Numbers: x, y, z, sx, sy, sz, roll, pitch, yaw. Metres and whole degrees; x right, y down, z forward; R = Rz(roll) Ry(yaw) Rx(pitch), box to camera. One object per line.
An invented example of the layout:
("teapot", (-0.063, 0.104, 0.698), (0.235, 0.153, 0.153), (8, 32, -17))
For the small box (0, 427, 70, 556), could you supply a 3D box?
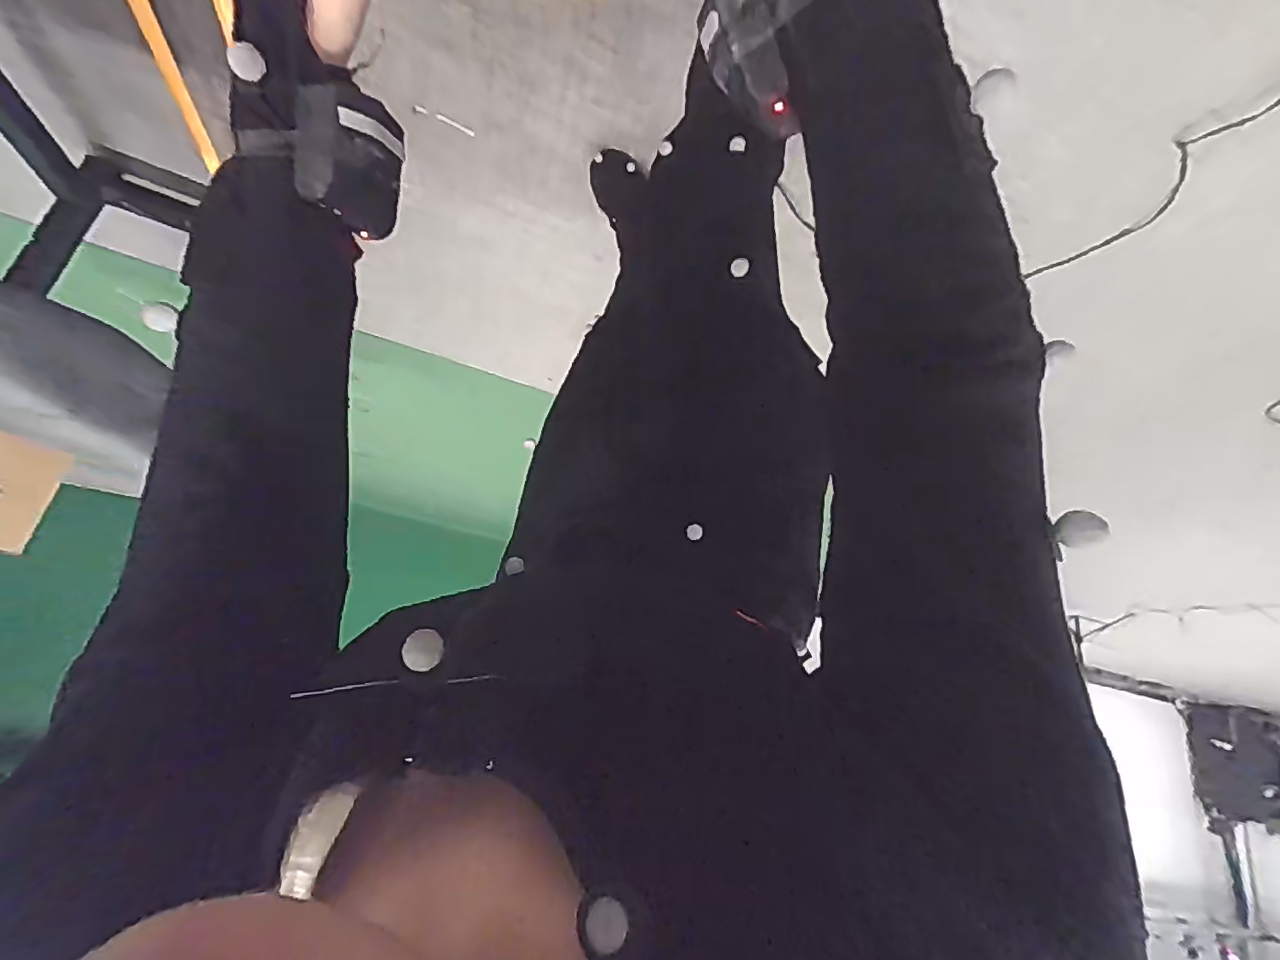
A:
("small box", (-0.969, -0.004, 0.745), (0.168, 0.176, 0.179), (18, 161, -16))
